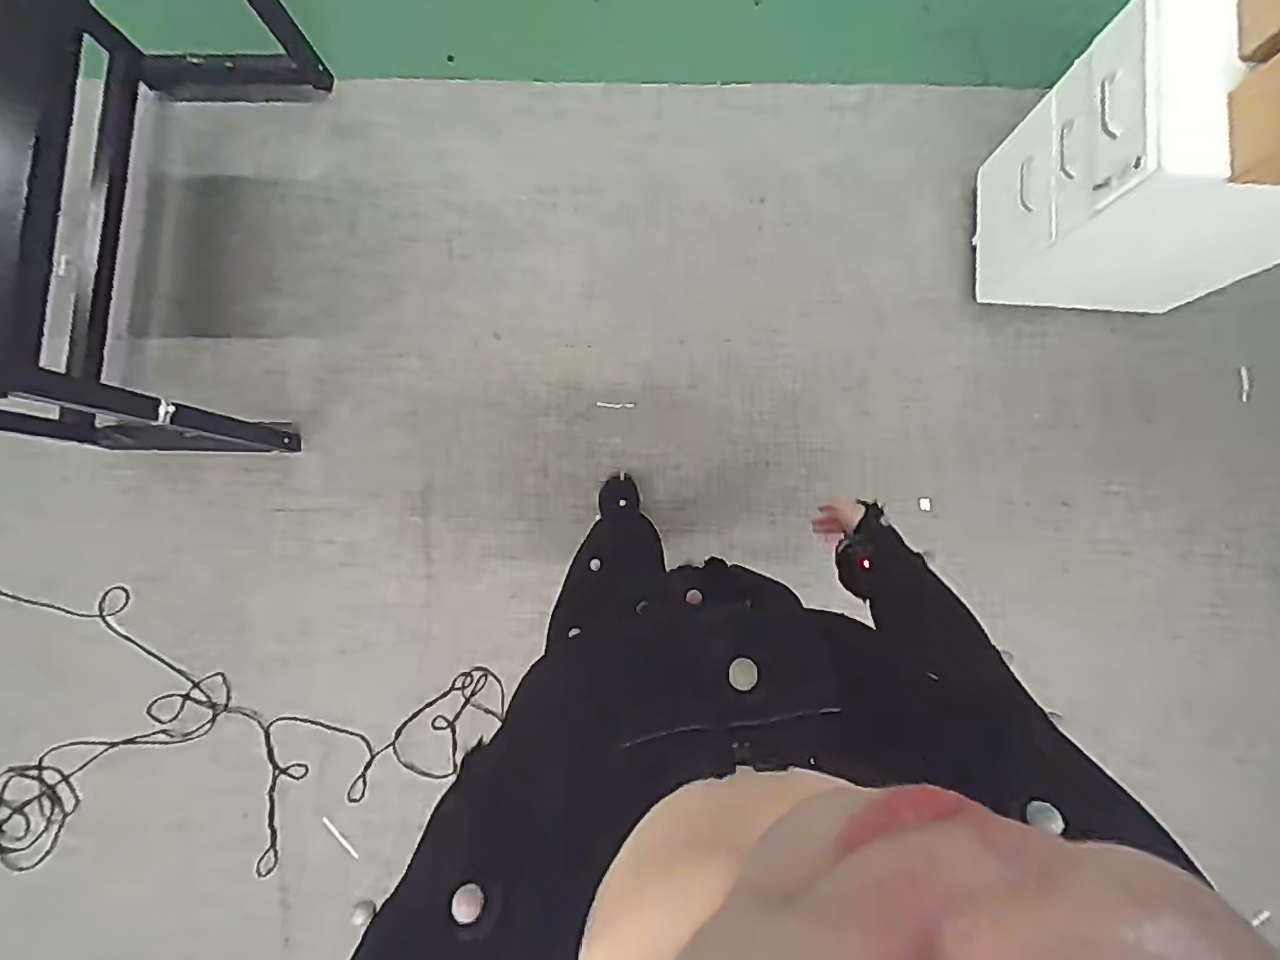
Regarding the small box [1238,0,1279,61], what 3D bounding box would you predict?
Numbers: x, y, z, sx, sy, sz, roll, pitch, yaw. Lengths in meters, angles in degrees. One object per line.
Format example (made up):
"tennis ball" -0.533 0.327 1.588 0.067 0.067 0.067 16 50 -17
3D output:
"small box" 1.152 -0.838 0.888 0.168 0.176 0.179 3 87 2
